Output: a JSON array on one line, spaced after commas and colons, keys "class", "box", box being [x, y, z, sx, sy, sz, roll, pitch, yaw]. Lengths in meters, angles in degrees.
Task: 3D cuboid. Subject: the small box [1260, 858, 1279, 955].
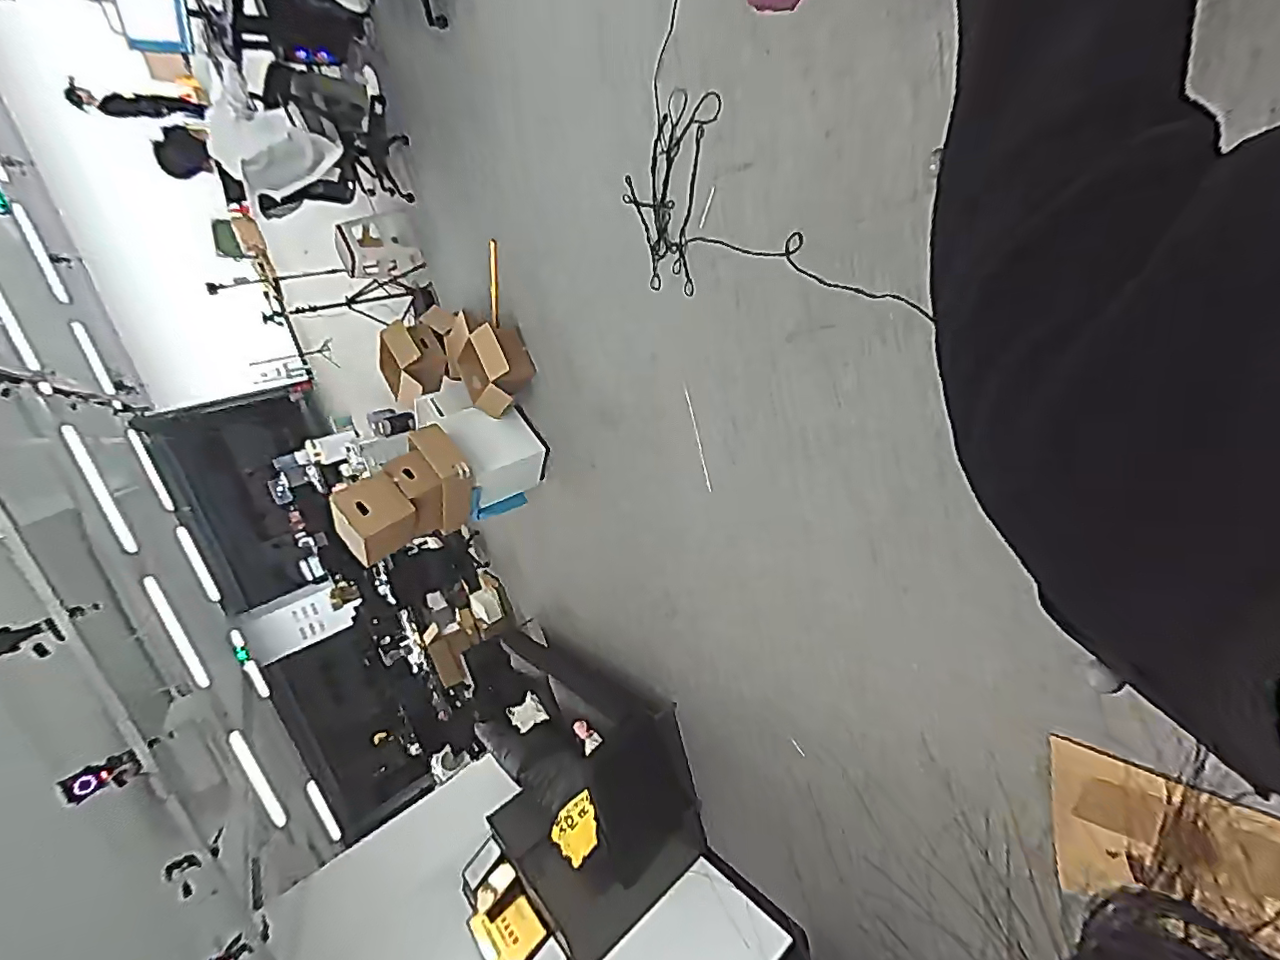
[{"class": "small box", "box": [1.486, 0.946, 1.163, 0.168, 0.176, 0.179, 16, 123, 51]}]
